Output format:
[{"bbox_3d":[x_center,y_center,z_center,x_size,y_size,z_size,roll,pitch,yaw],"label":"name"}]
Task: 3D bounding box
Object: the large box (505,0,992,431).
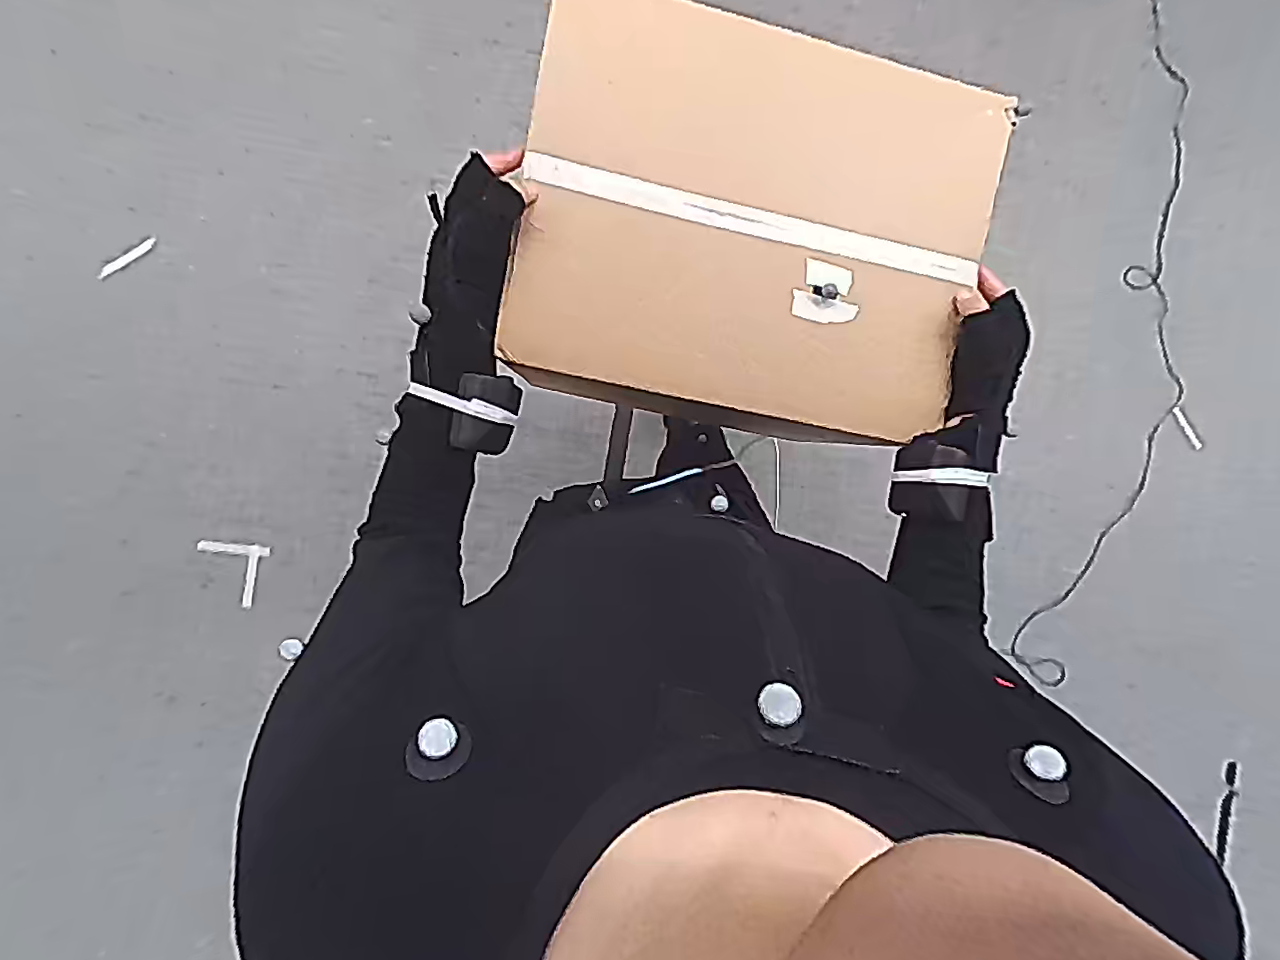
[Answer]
[{"bbox_3d":[0.083,-0.244,0.624,0.408,0.320,0.320,11,96,-8],"label":"large box"}]
